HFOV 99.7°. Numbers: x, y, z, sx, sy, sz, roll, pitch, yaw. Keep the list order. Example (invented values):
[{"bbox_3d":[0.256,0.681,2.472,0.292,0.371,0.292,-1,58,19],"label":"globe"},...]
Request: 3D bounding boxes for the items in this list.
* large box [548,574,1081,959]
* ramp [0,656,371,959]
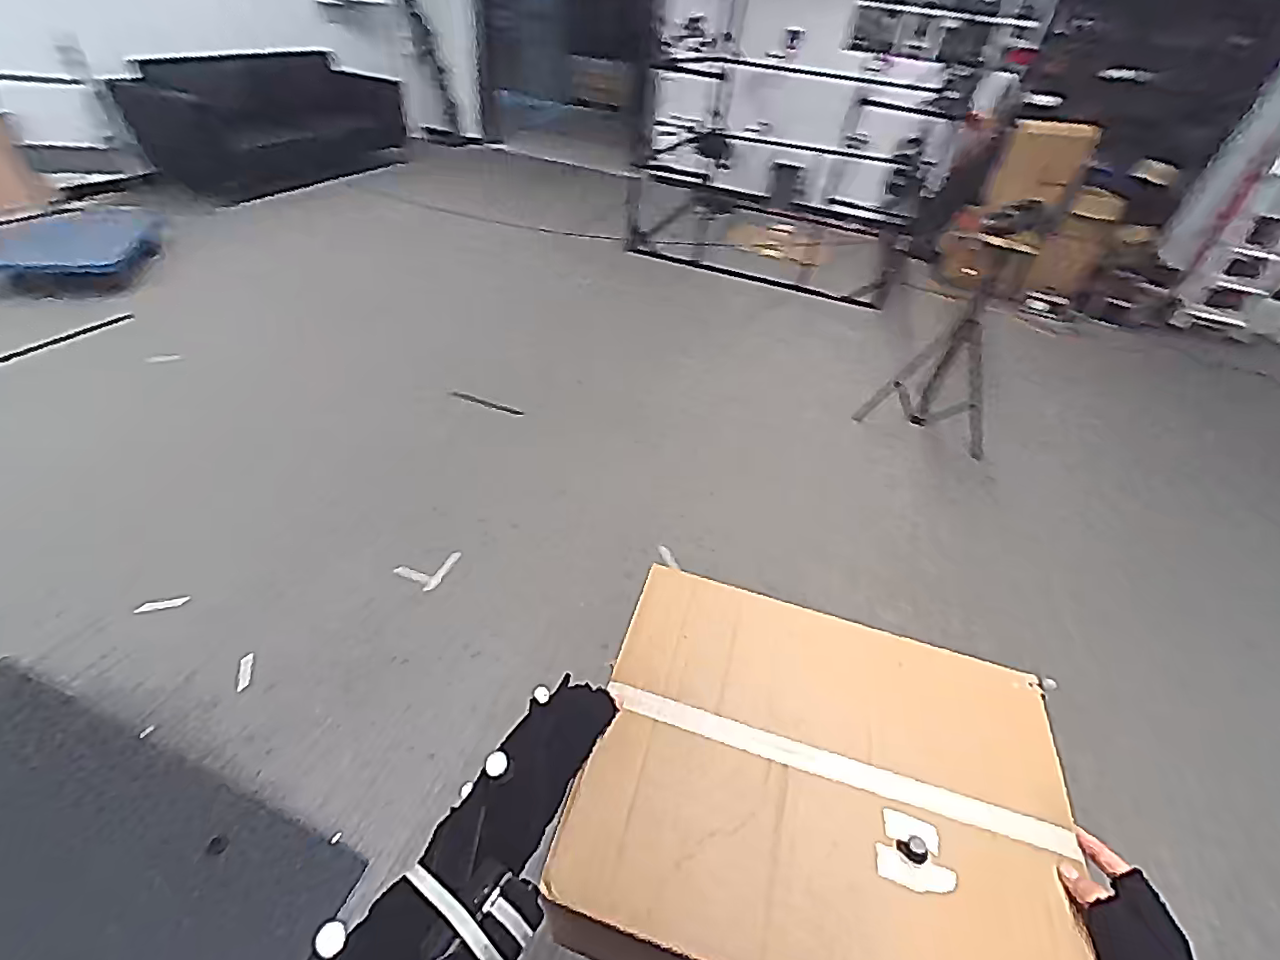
[{"bbox_3d":[0.141,0.358,0.587,0.408,0.320,0.320,15,45,8],"label":"large box"},{"bbox_3d":[-1.129,0.780,1.093,0.991,0.206,0.509,17,40,10],"label":"ramp"}]
